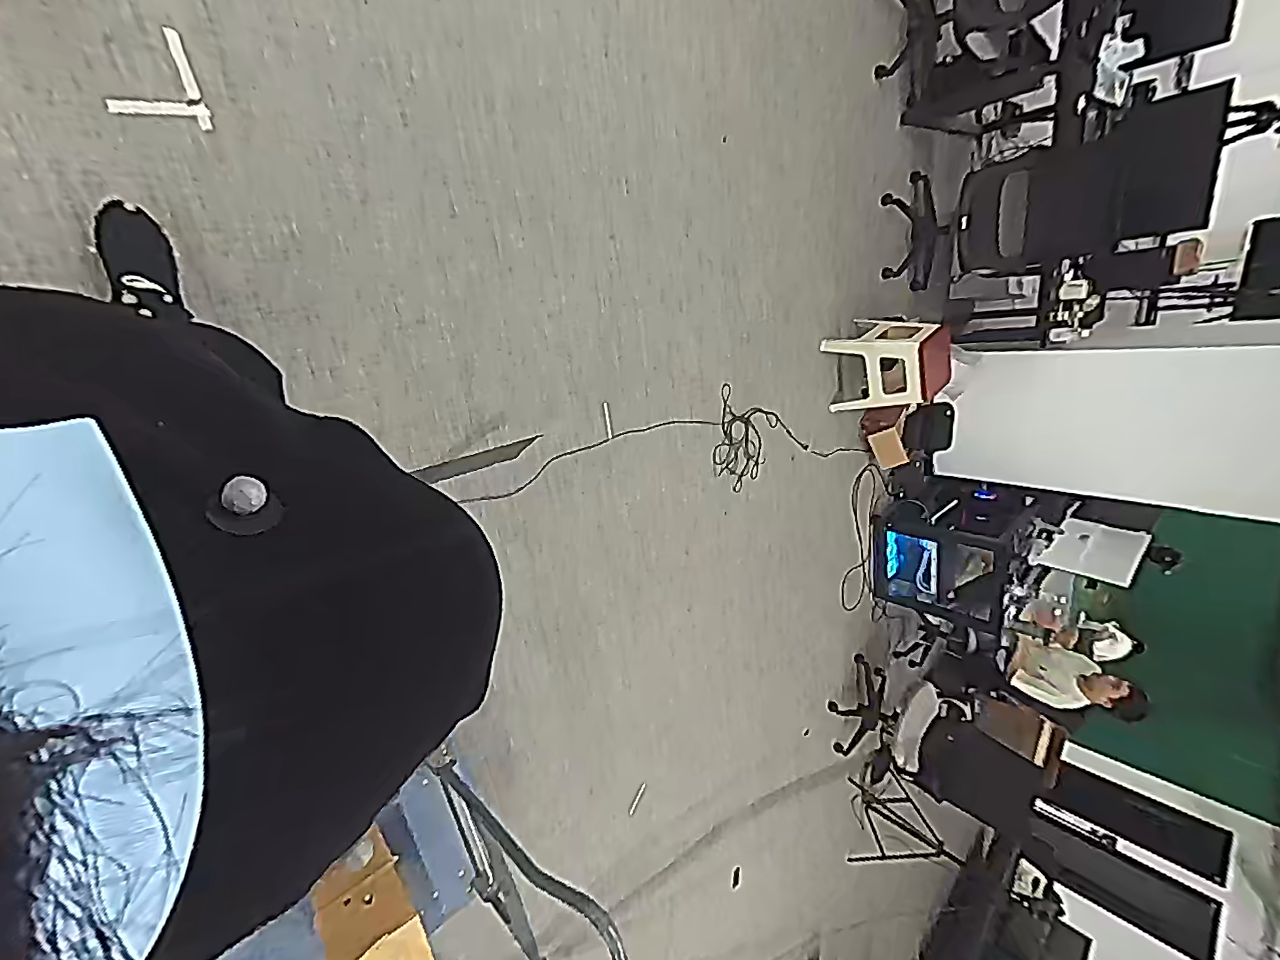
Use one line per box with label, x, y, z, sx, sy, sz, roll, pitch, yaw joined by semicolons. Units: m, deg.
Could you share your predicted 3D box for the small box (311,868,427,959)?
small box;-0.572;0.988;1.149;0.168;0.176;0.179;-22;111;-37
